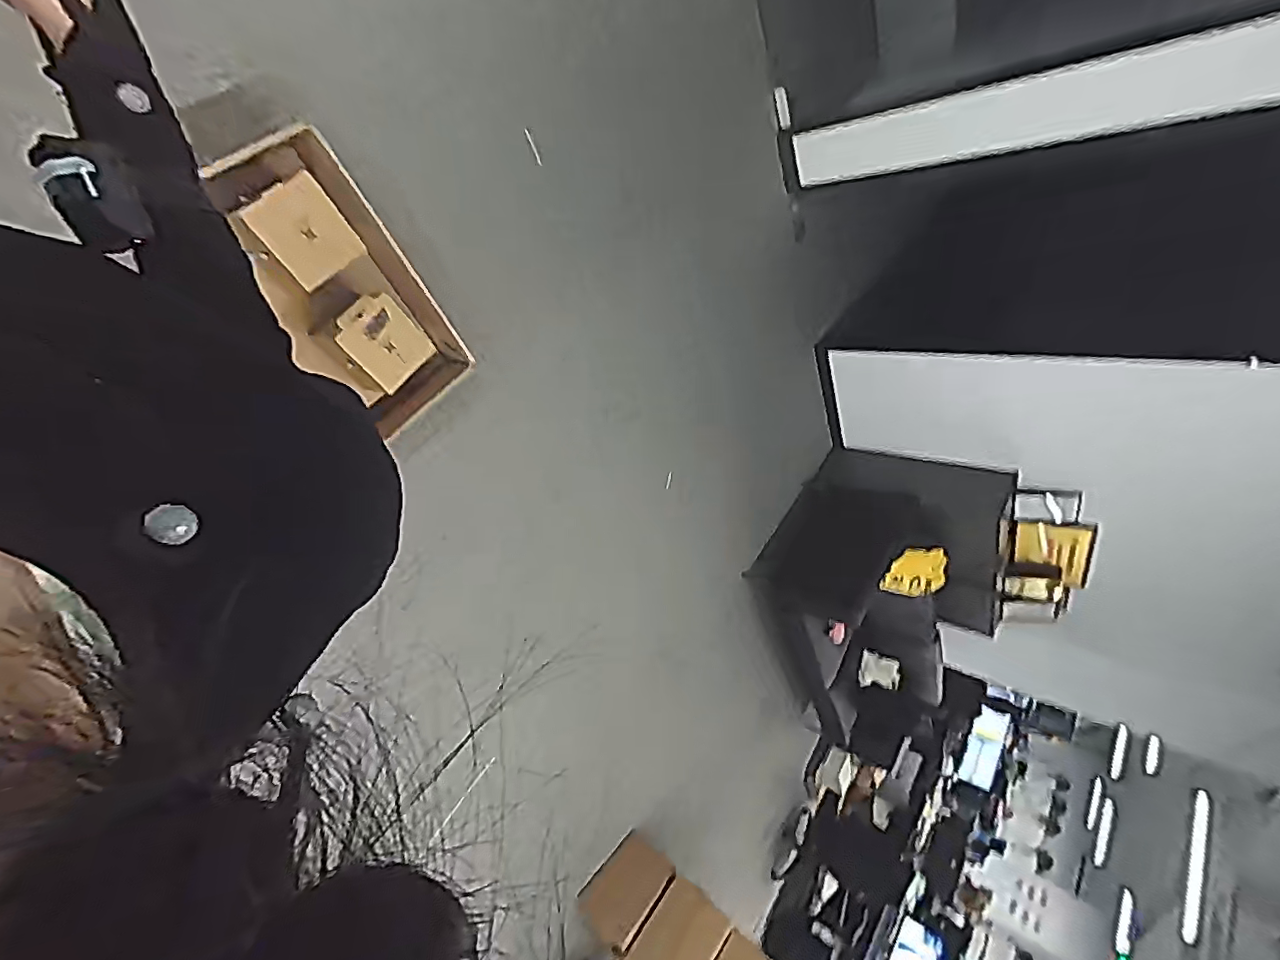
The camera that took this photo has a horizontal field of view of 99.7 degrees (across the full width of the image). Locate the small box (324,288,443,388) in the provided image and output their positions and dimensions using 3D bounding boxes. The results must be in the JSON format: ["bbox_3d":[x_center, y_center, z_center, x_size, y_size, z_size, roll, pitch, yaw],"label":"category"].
[{"bbox_3d":[-0.633,-0.347,1.329,0.168,0.176,0.179,-54,134,-20],"label":"small box"}]

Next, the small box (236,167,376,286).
[{"bbox_3d":[-0.723,-0.539,1.169,0.168,0.176,0.179,-50,135,-22],"label":"small box"}]
